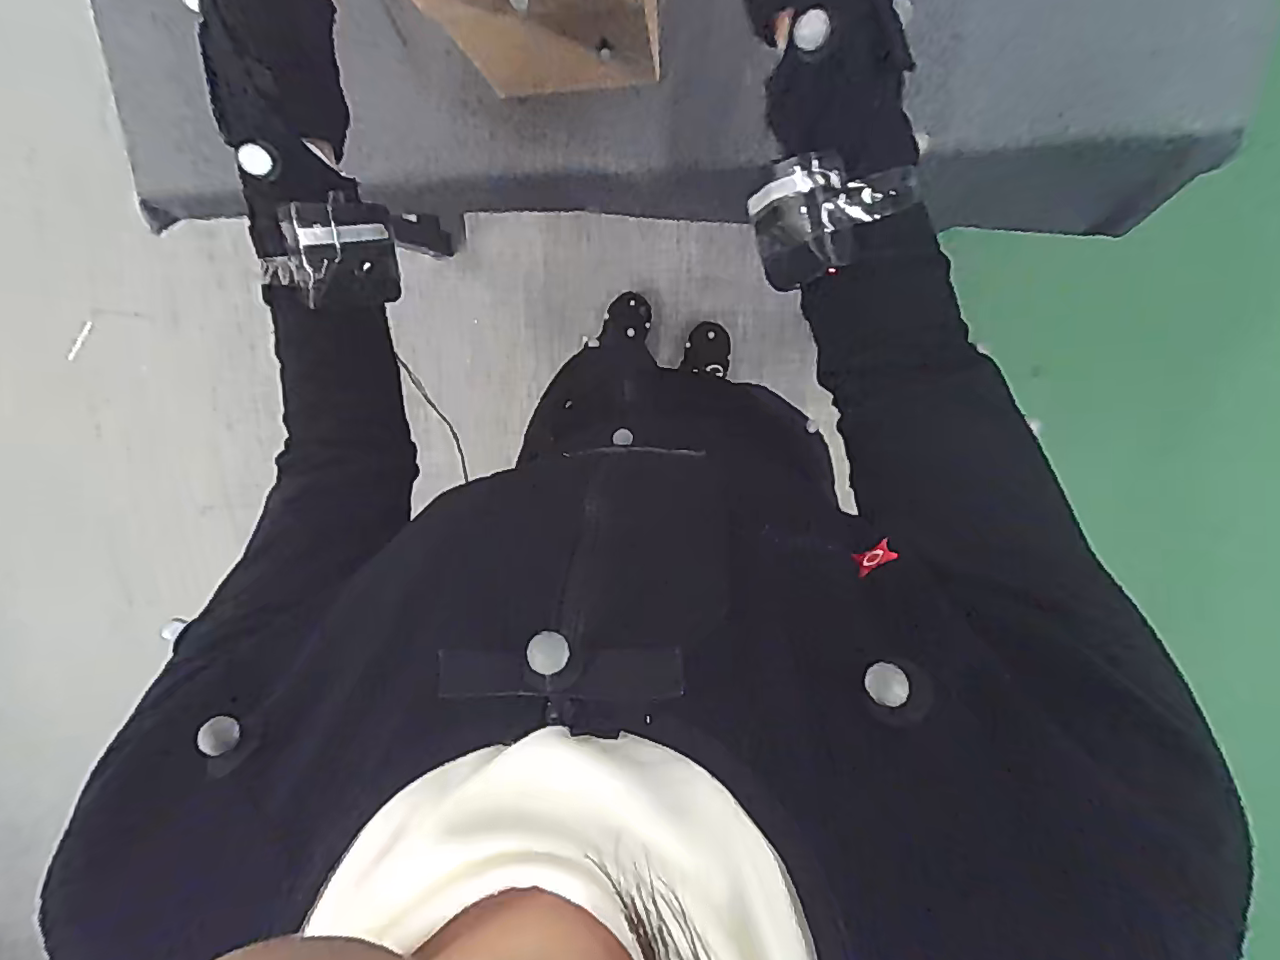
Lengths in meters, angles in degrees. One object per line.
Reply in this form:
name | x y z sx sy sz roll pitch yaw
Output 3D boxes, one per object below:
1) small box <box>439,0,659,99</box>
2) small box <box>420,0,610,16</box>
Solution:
small box | -0.075 -0.479 0.490 0.179 0.176 0.168 -1 103 8
small box | -0.092 -0.431 0.333 0.179 0.176 0.168 1 102 5
